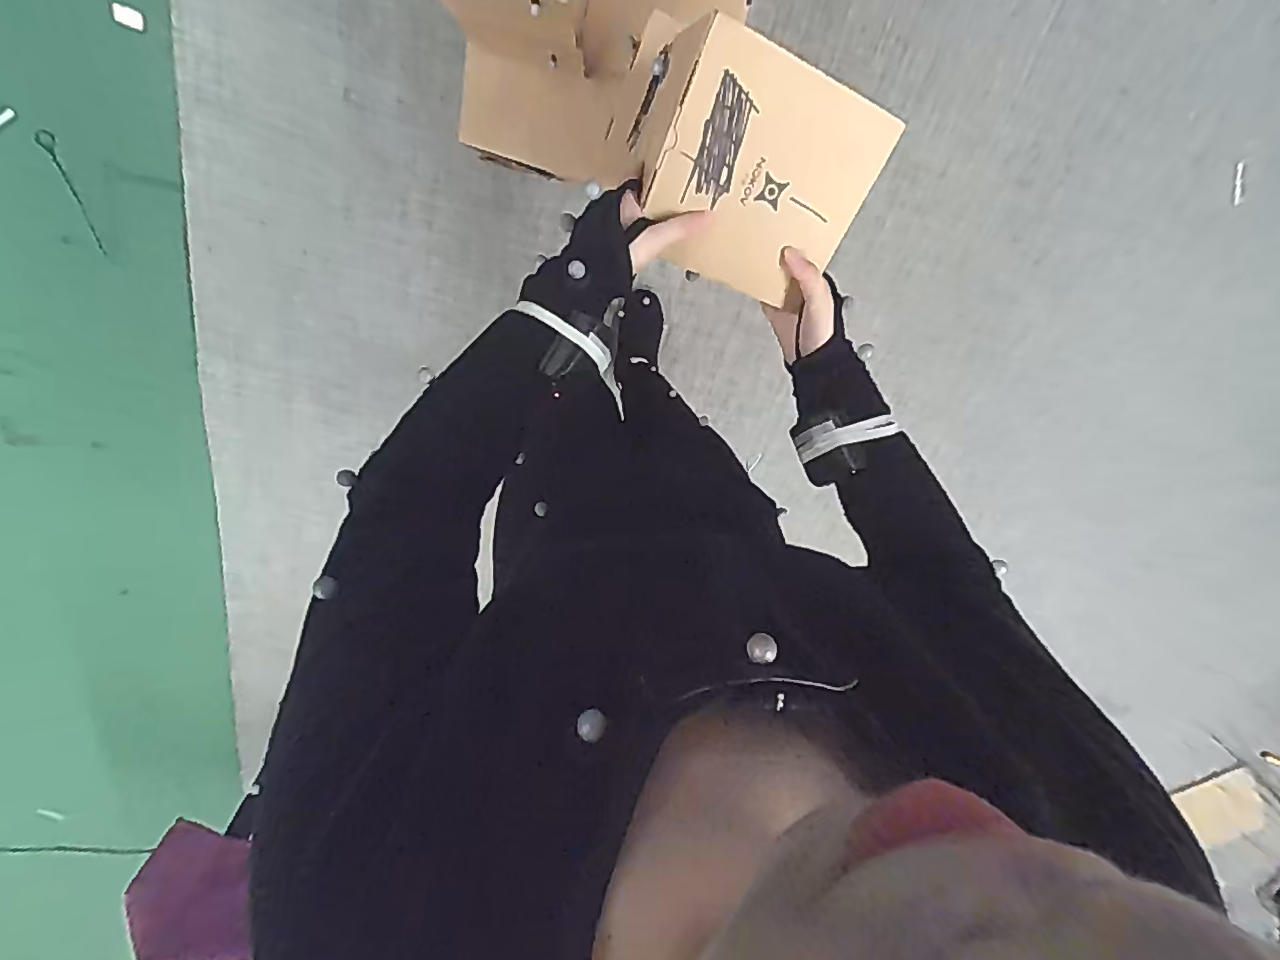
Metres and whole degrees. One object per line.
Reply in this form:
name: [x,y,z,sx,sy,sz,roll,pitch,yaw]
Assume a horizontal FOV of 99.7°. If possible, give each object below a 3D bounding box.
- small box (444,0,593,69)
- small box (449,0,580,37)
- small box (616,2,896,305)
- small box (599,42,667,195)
small box: [-0.150,-0.690,0.732,0.179,0.176,0.168,10,114,-9]
small box: [-0.144,-0.623,0.584,0.179,0.176,0.168,11,114,-11]
small box: [0.086,-0.292,0.506,0.179,0.176,0.168,16,121,-18]
small box: [0.036,-0.517,0.832,0.168,0.176,0.179,15,114,-13]
